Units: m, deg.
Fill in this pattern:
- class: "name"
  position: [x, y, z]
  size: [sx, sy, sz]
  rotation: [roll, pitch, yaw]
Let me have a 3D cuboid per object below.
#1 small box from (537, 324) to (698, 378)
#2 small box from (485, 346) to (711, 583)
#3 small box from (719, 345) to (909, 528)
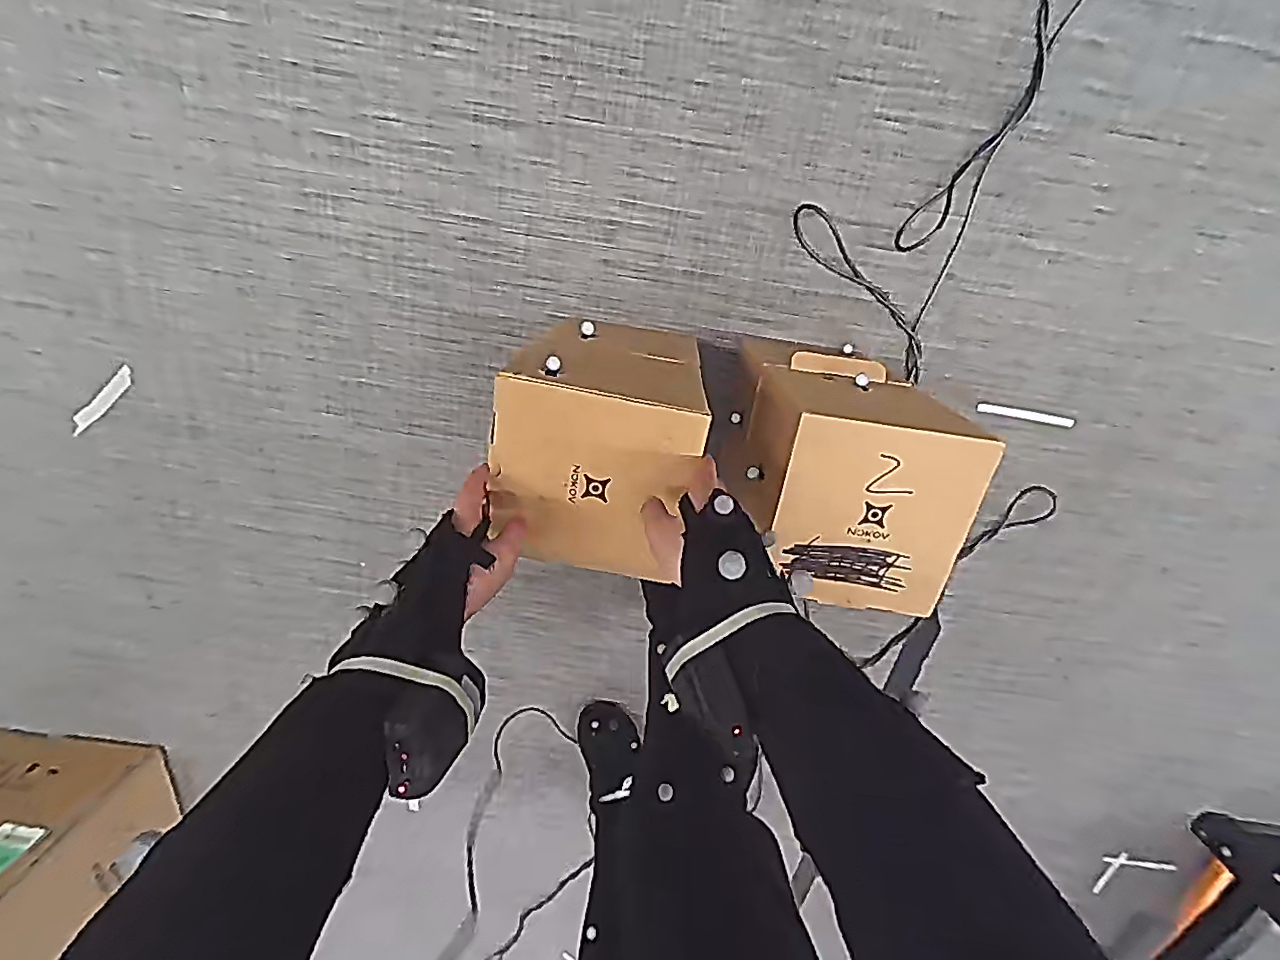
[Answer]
- class: "small box"
  position: [-0.031, -0.093, 0.680]
  size: [0.179, 0.176, 0.168]
  rotation: [10, 114, -1]
- class: "small box"
  position: [-0.037, -0.026, 0.532]
  size: [0.179, 0.176, 0.168]
  rotation: [11, 114, -1]
- class: "small box"
  position: [0.200, -0.063, 0.682]
  size: [0.168, 0.176, 0.179]
  rotation: [8, 115, -1]
